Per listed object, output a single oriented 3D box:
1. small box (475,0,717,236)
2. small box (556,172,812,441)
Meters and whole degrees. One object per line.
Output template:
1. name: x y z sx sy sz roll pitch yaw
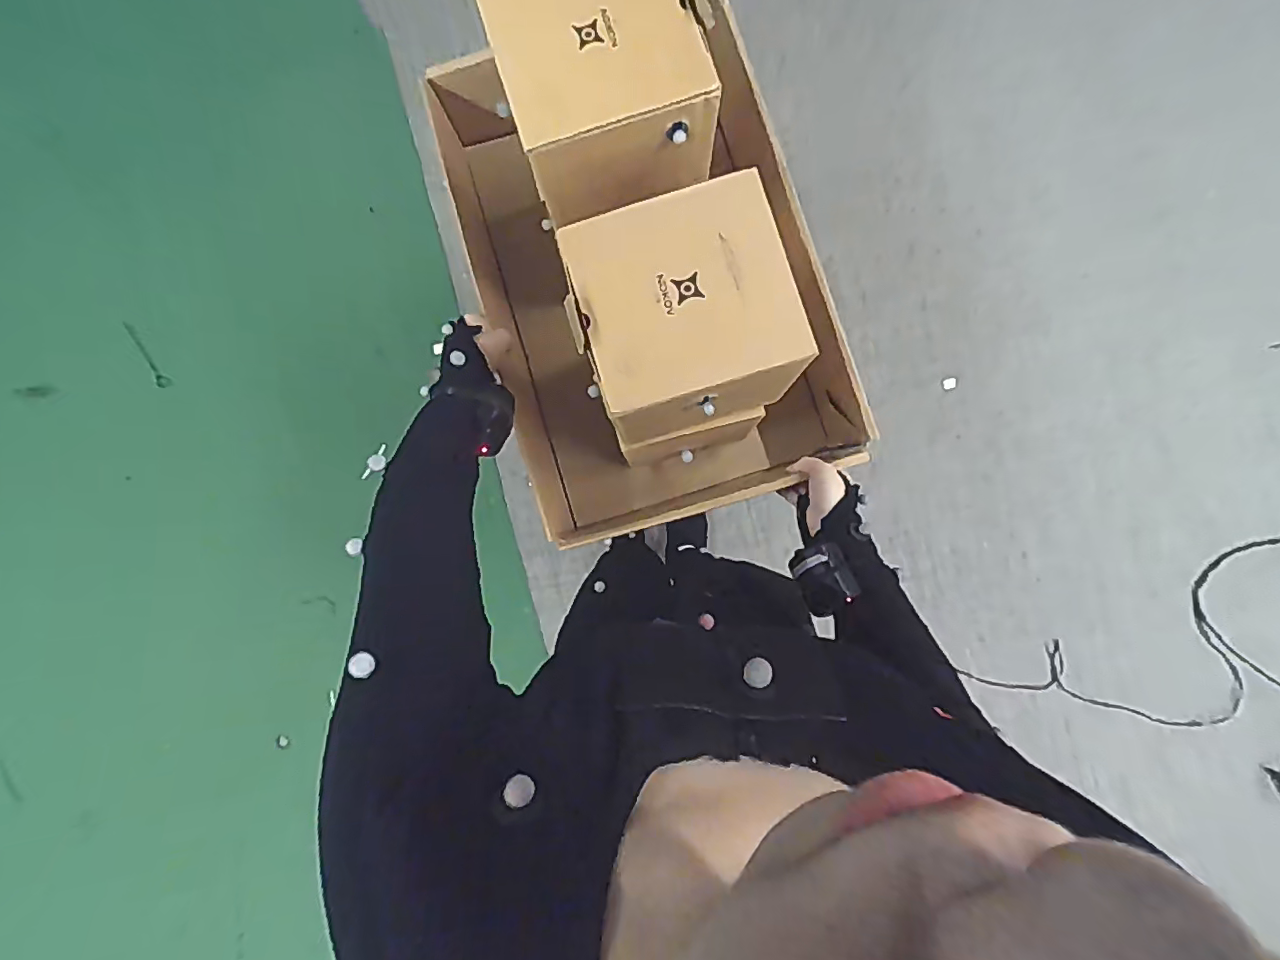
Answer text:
1. small box: -0.036 -0.369 0.540 0.179 0.176 0.168 -18 86 0
2. small box: 0.038 -0.146 0.519 0.179 0.176 0.168 -17 85 1
